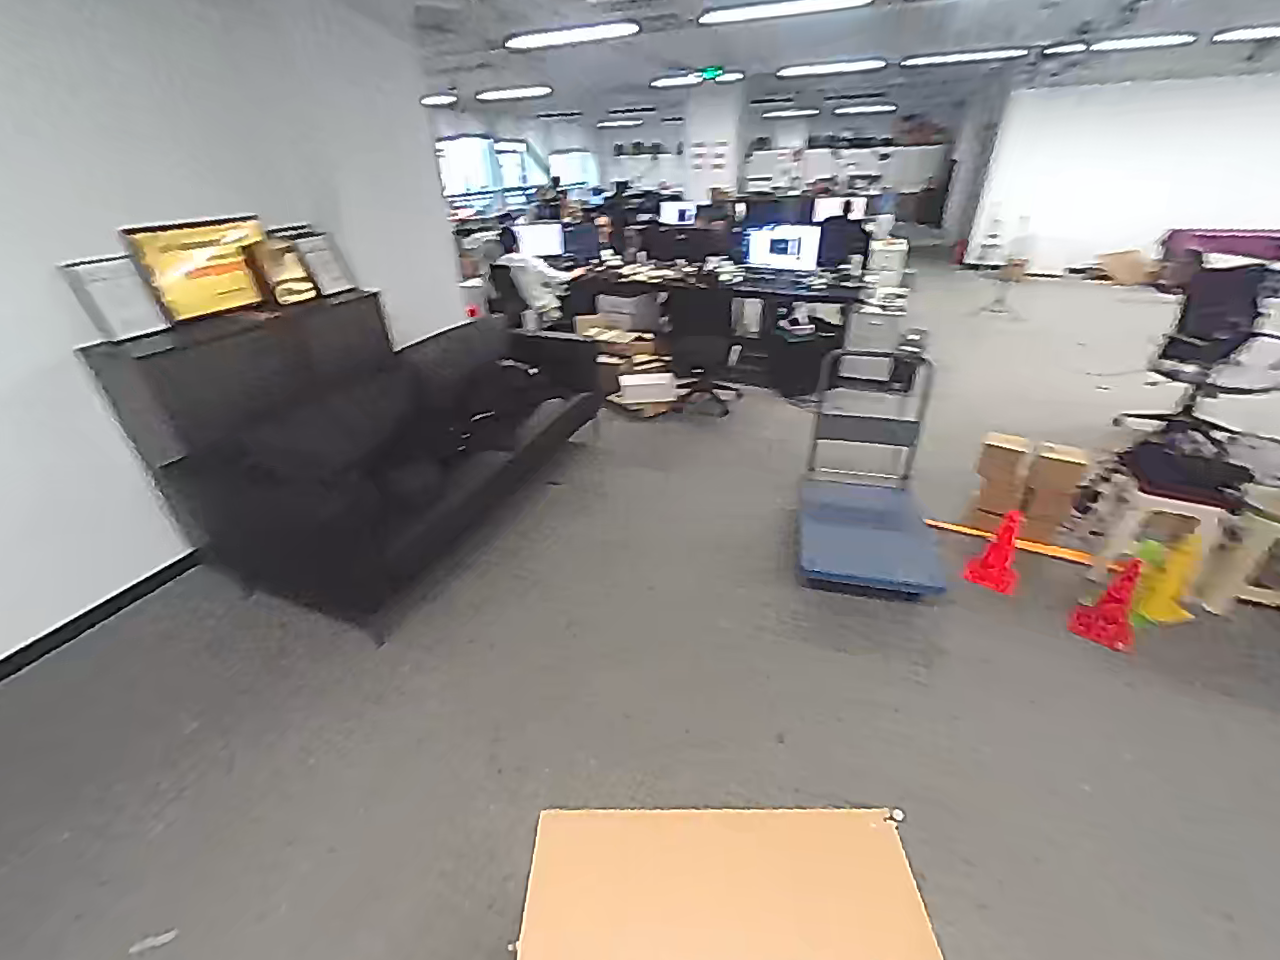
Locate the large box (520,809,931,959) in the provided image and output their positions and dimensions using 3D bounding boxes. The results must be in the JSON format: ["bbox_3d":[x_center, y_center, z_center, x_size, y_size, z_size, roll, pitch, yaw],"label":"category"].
[{"bbox_3d":[0.082,0.598,0.582,0.408,0.320,0.320,-1,32,0],"label":"large box"}]
